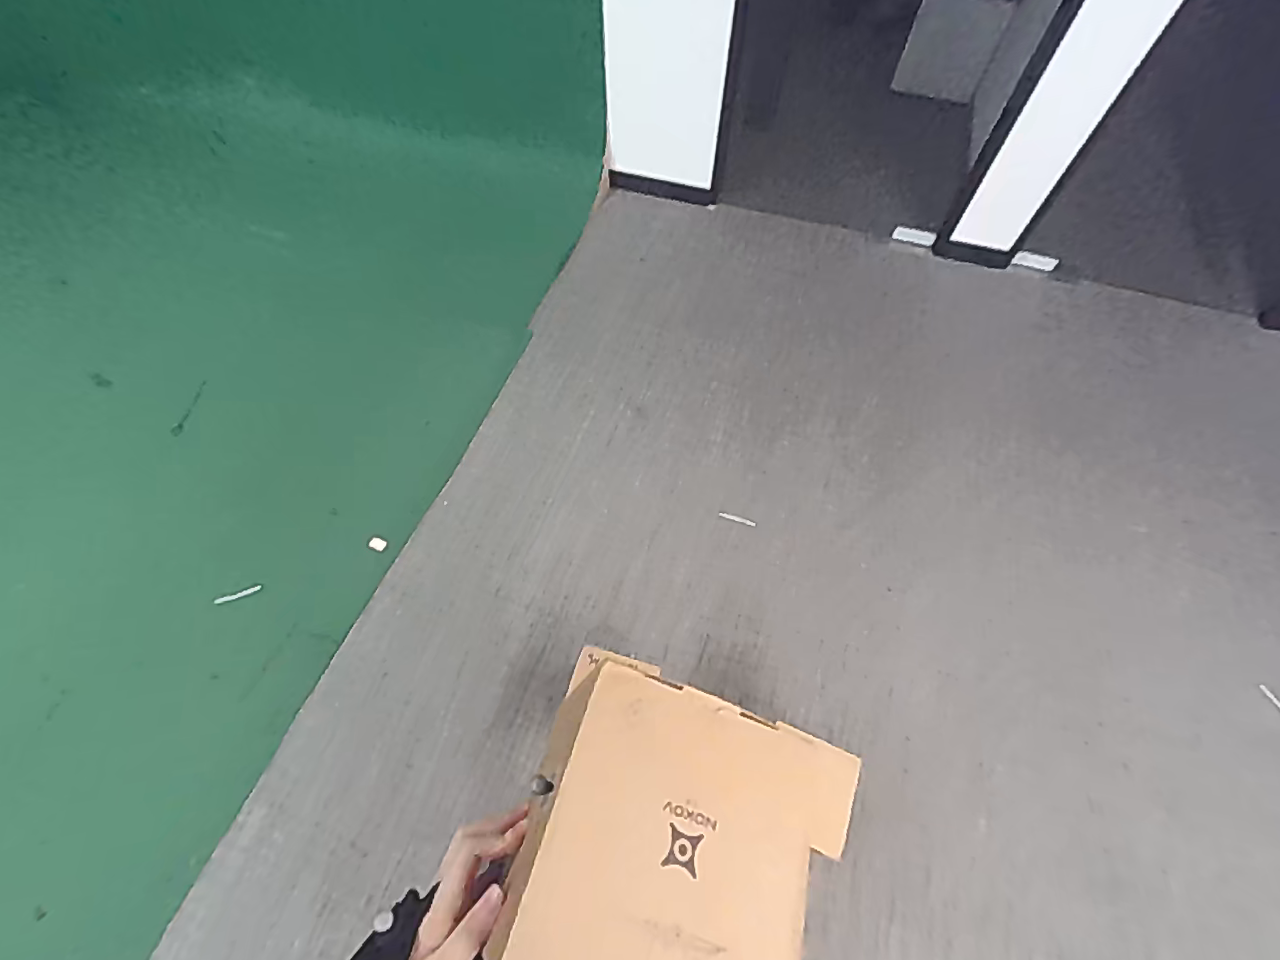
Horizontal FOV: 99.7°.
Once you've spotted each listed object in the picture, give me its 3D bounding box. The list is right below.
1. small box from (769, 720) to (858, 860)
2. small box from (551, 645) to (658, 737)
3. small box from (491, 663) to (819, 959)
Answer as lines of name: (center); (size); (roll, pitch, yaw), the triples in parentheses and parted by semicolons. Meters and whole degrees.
small box: (0.294, 0.591, 1.043); (0.168, 0.176, 0.179); (21, 62, 11)
small box: (-0.065, 0.464, 1.107); (0.168, 0.176, 0.179); (15, 62, 8)
small box: (0.005, 0.264, 0.392); (0.168, 0.176, 0.179); (25, 53, -5)
